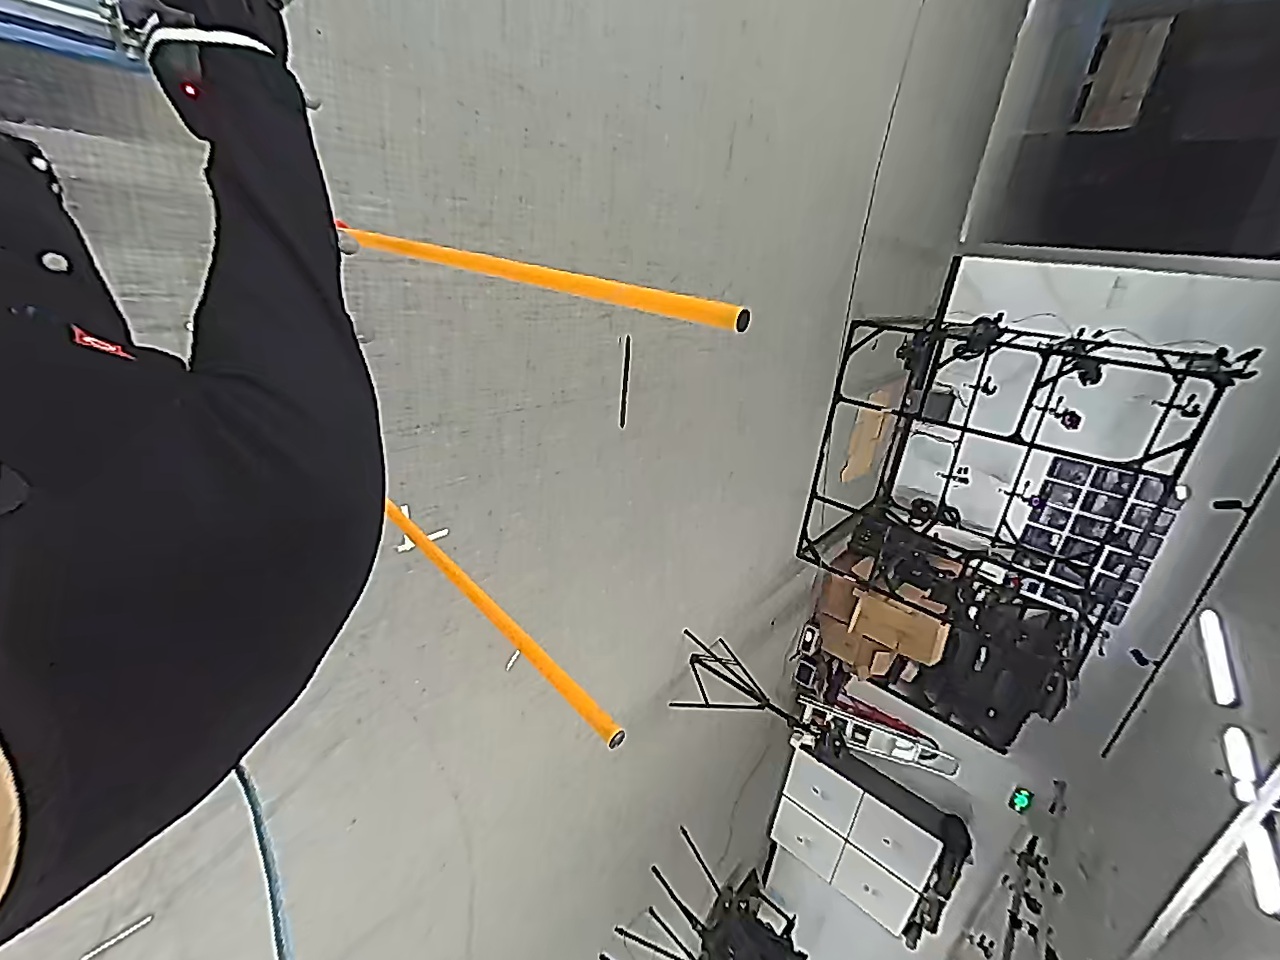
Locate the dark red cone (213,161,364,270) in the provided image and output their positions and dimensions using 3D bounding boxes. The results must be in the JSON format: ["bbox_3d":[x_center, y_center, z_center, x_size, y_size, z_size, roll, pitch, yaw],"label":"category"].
[{"bbox_3d":[-0.668,-0.517,1.085,0.201,0.394,0.202,-21,125,-48],"label":"dark red cone"}]
